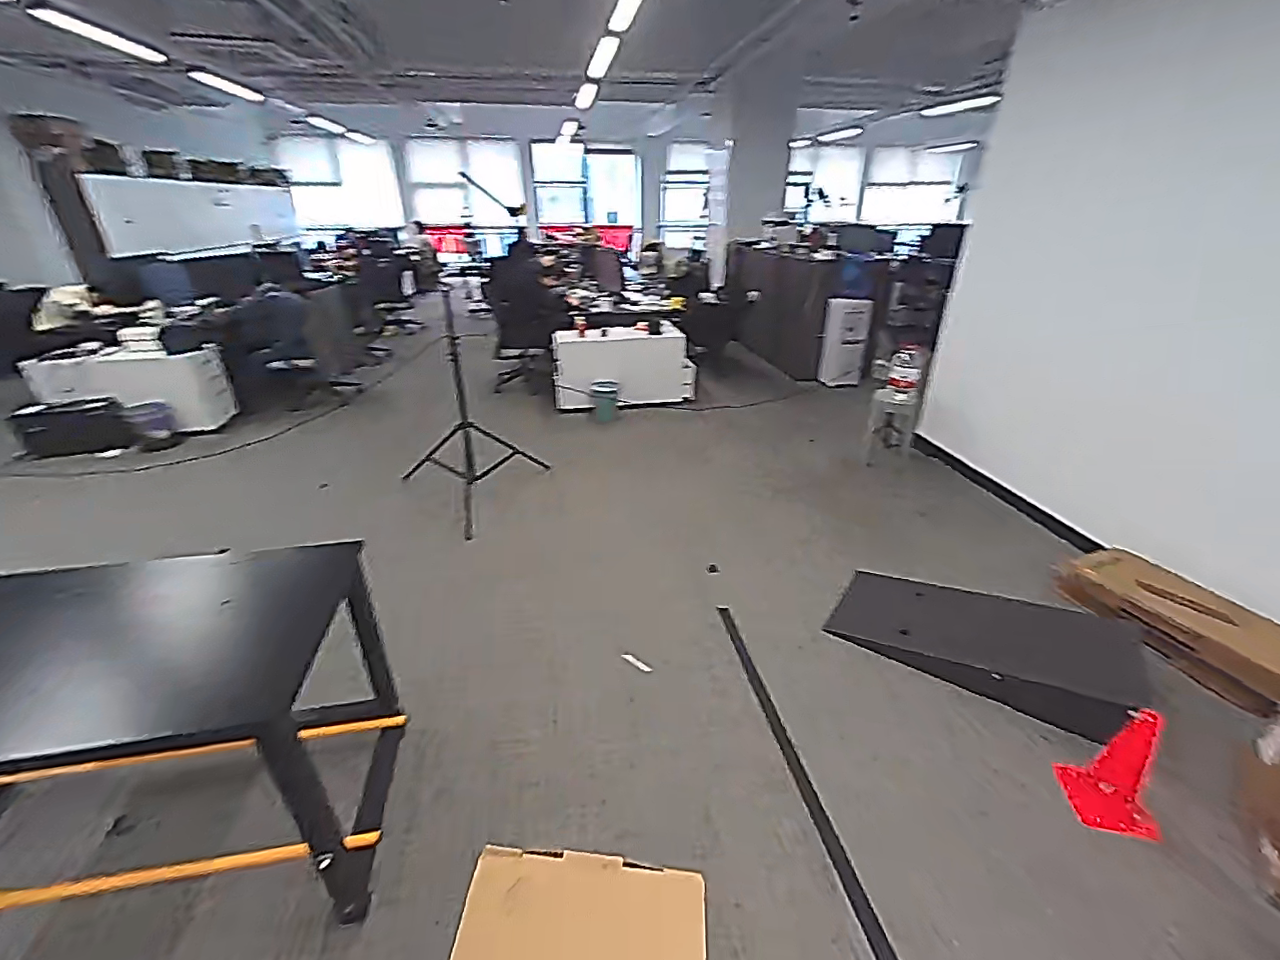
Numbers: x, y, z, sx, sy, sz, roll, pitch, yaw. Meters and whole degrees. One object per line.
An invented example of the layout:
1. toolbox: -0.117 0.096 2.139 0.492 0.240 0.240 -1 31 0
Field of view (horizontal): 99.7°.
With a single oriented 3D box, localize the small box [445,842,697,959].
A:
1. small box: -0.054 0.390 0.374 0.168 0.176 0.179 7 37 0
